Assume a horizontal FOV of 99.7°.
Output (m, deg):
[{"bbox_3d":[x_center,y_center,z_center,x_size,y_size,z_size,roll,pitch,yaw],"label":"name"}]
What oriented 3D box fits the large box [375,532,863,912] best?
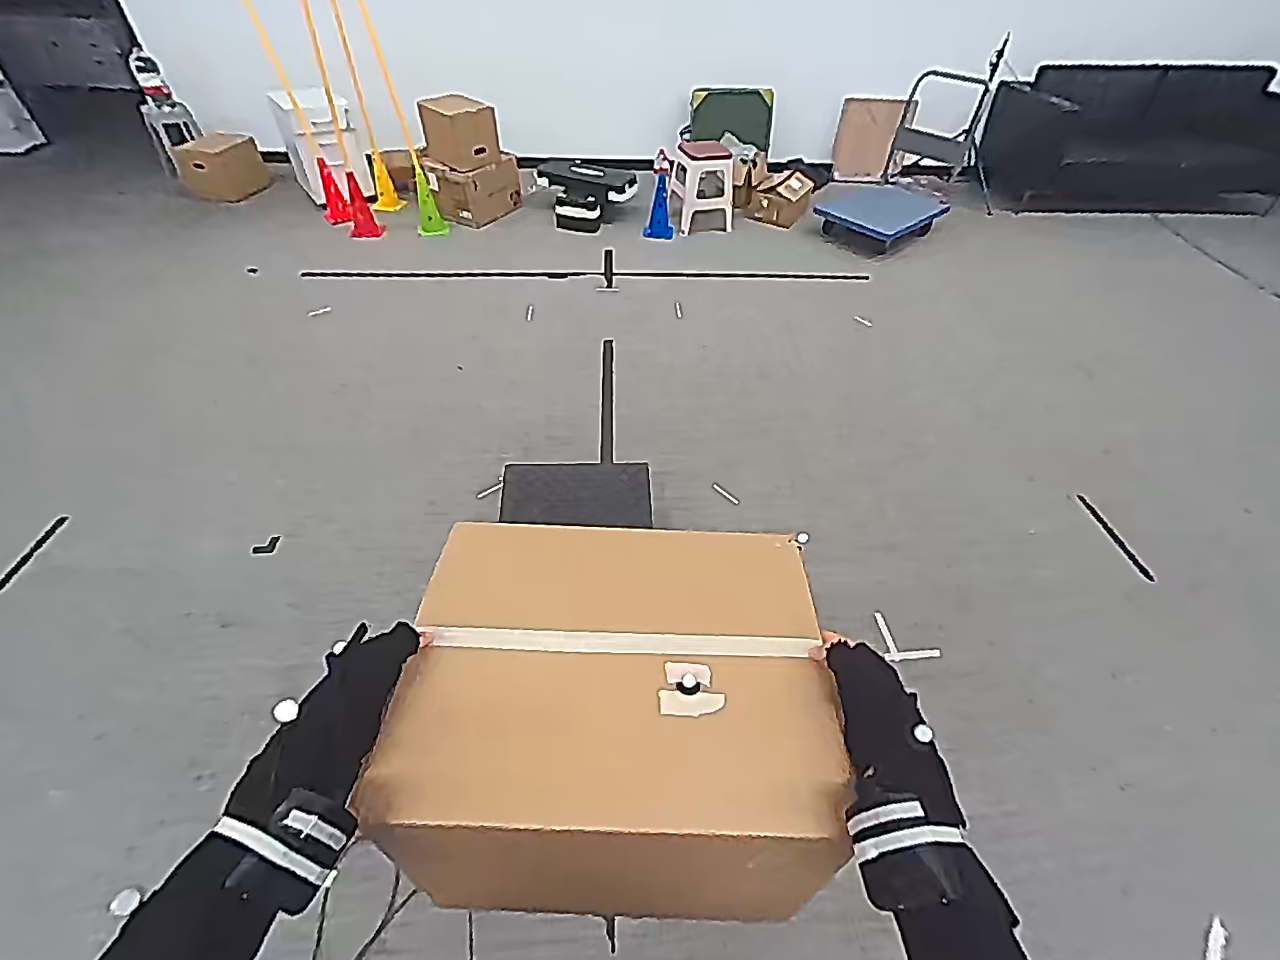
[{"bbox_3d":[-0.020,0.282,0.640,0.408,0.320,0.320,3,42,0],"label":"large box"}]
